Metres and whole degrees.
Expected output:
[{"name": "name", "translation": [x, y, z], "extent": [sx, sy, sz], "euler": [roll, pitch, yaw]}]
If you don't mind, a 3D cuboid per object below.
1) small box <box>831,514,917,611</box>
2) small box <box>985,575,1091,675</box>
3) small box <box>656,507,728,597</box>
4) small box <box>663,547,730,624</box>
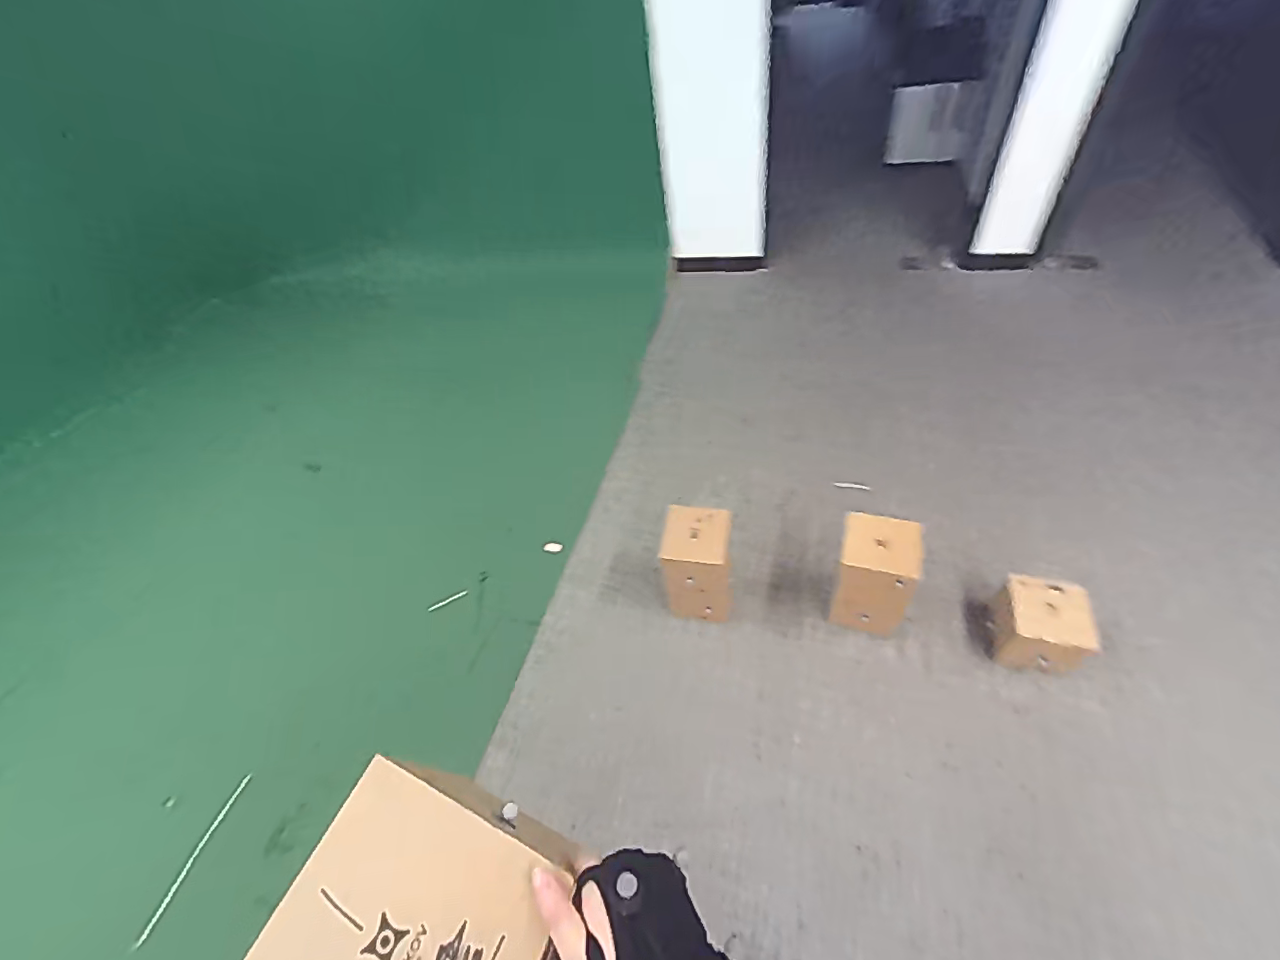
[{"name": "small box", "translation": [0.590, 0.212, 1.374], "extent": [0.179, 0.176, 0.168], "euler": [9, 51, 19]}, {"name": "small box", "translation": [0.998, 0.372, 1.373], "extent": [0.168, 0.176, 0.179], "euler": [8, 52, 18]}, {"name": "small box", "translation": [0.147, 0.198, 1.473], "extent": [0.168, 0.176, 0.179], "euler": [5, 50, 14]}, {"name": "small box", "translation": [0.174, 0.304, 1.597], "extent": [0.168, 0.176, 0.179], "euler": [6, 50, 15]}]
